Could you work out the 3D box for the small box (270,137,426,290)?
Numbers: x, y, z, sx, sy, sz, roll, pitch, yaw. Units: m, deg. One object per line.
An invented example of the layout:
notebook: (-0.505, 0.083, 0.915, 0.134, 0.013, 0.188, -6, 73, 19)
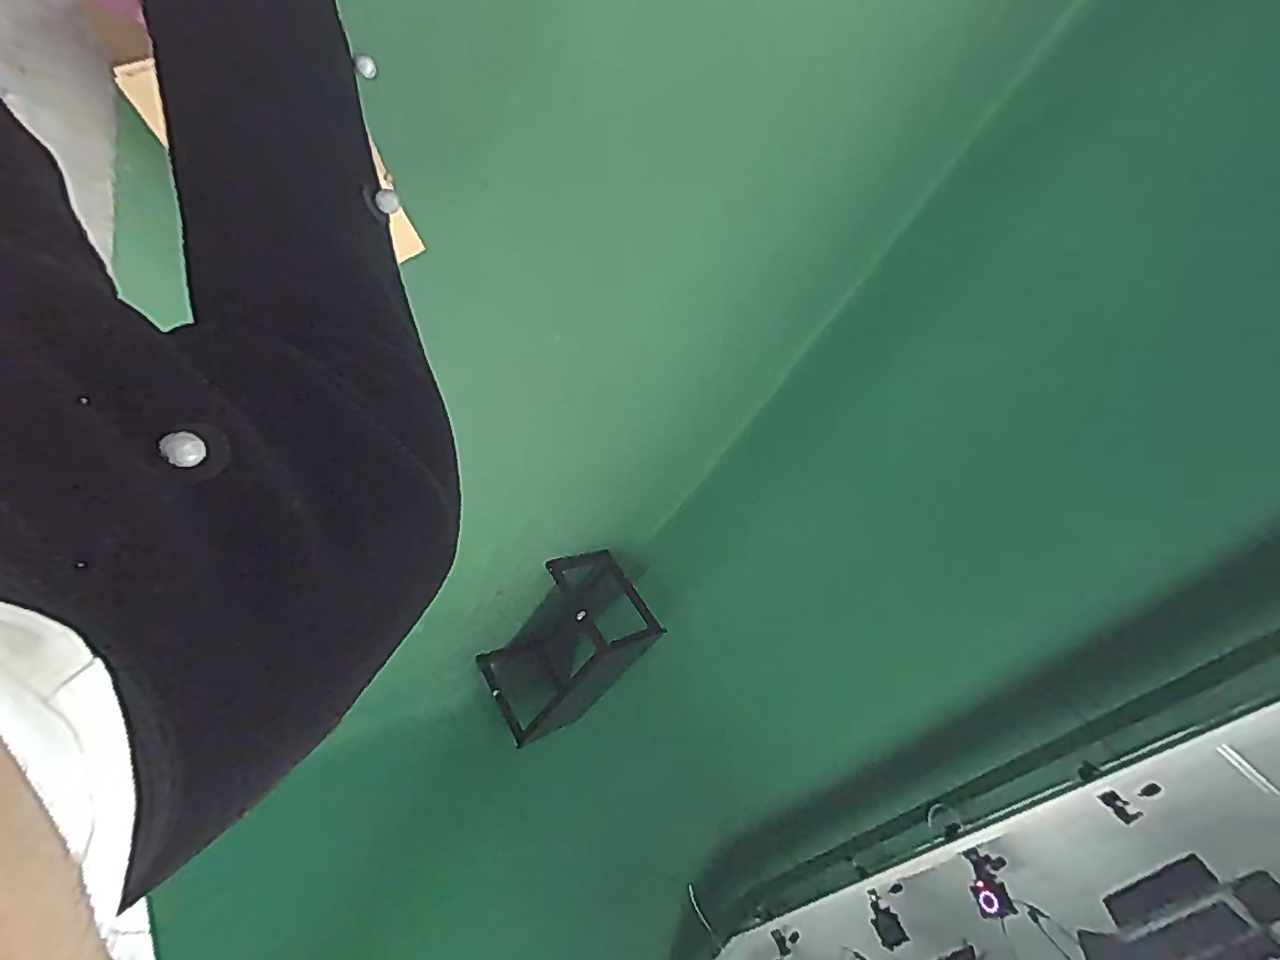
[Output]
small box: (-0.542, -0.501, 1.008, 0.168, 0.176, 0.179, -34, 154, -9)
